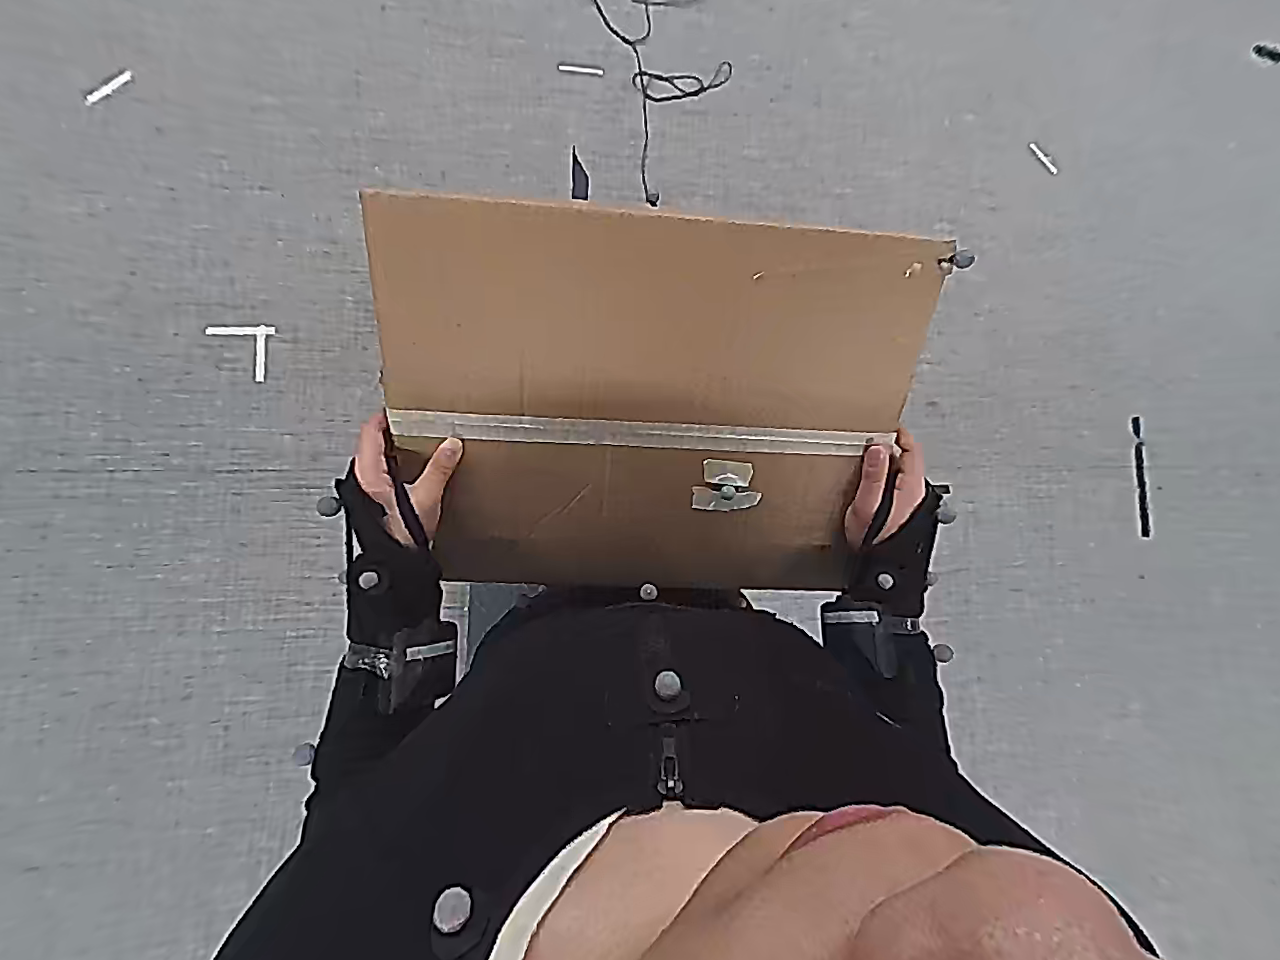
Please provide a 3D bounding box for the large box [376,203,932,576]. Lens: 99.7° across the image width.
[{"bbox_3d":[-0.002,-0.114,0.578,0.408,0.320,0.320,1,119,-6],"label":"large box"}]
